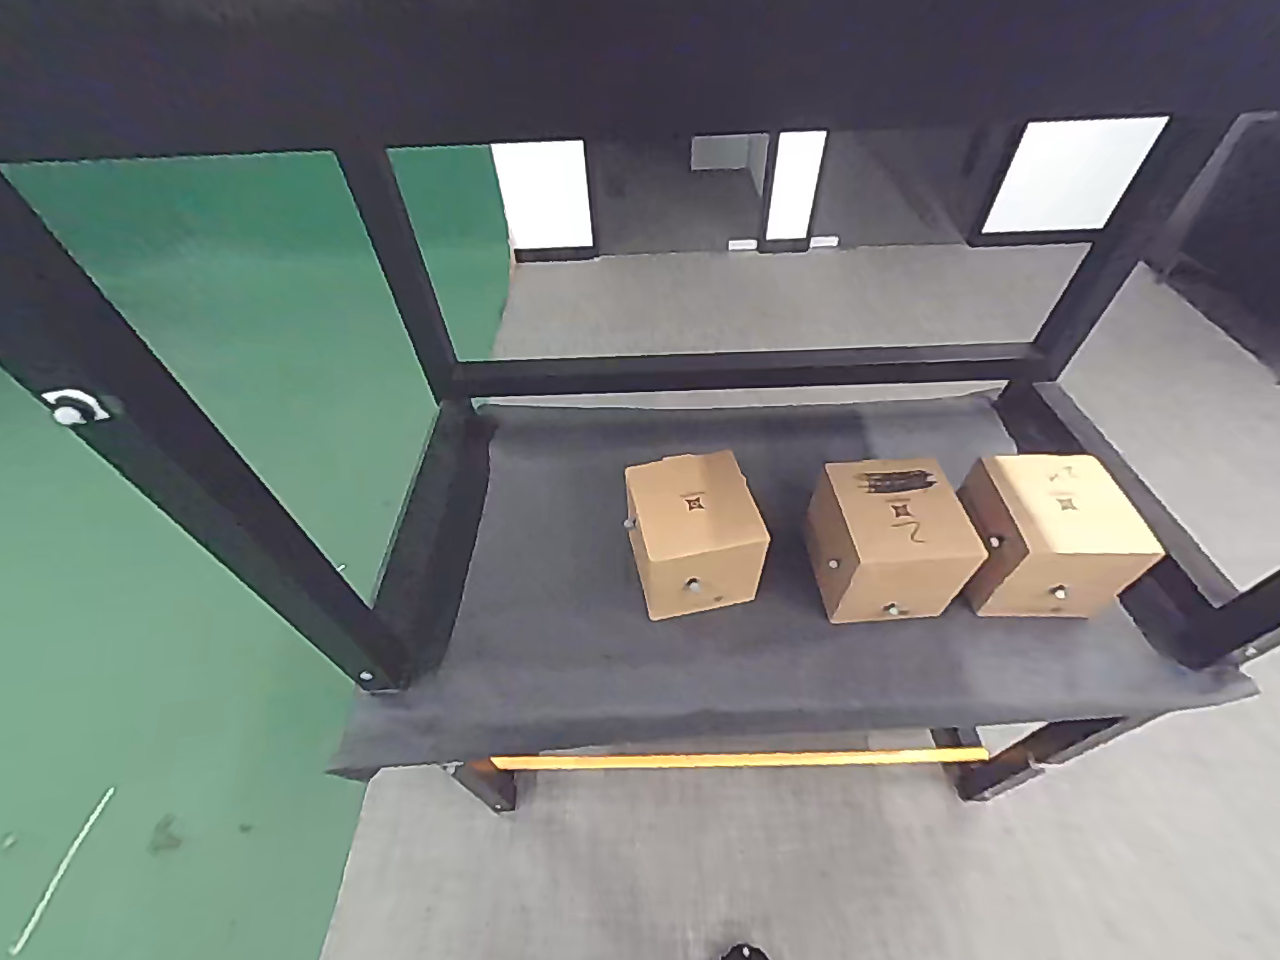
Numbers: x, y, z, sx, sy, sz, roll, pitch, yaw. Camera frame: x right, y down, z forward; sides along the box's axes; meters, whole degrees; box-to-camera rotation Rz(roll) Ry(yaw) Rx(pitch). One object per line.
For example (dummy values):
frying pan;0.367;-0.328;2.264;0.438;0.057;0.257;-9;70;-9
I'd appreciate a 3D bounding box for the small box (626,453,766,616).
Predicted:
small box;0.077;0.089;0.820;0.168;0.176;0.179;-10;48;-7
